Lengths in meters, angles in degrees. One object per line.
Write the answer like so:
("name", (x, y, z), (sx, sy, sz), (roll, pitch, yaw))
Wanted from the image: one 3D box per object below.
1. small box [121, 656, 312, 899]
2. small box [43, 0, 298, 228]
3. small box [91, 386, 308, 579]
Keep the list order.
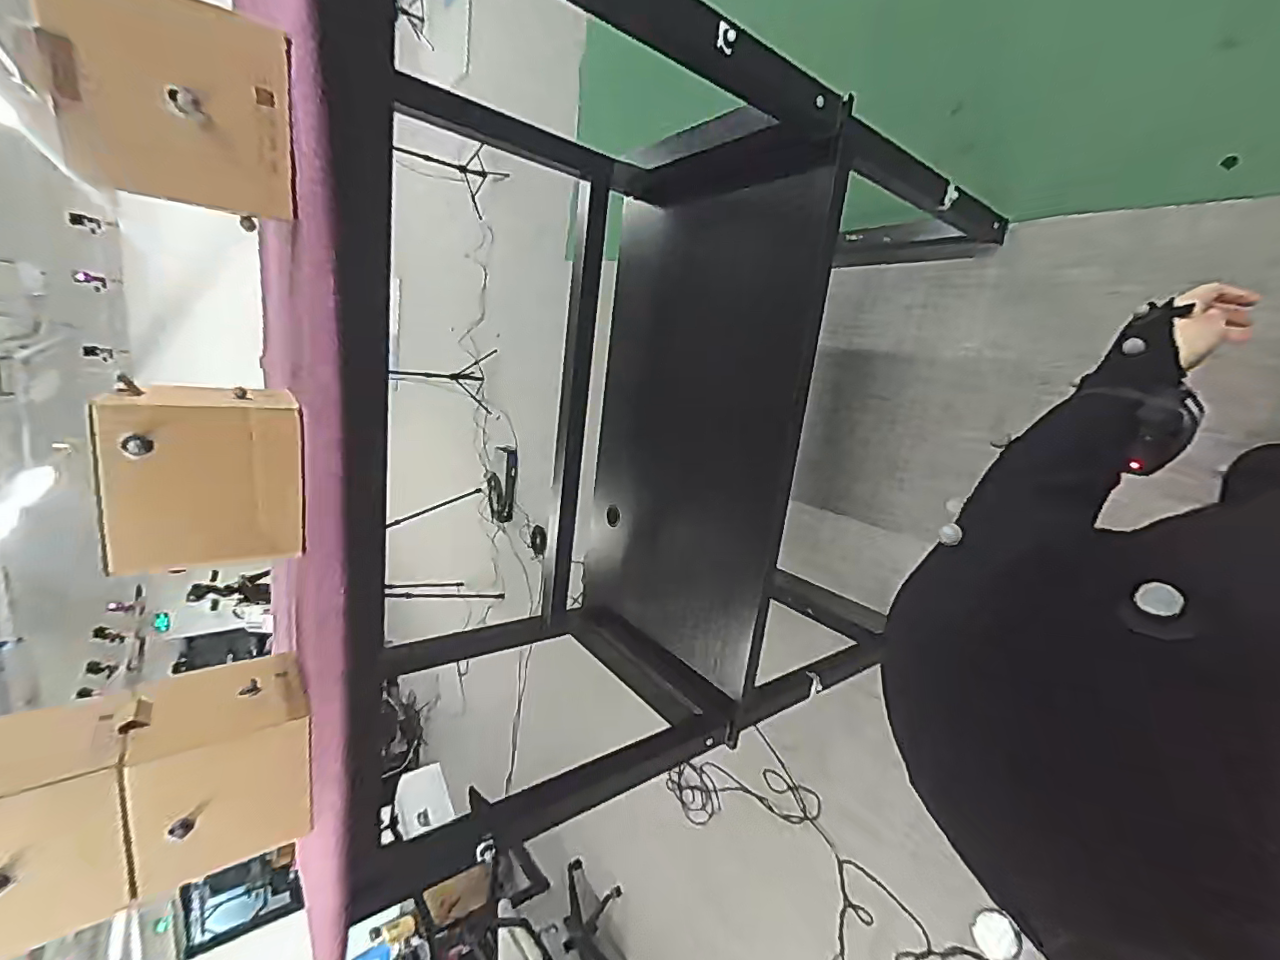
("small box", (-0.516, 0.350, 0.675), (0.168, 0.176, 0.179), (20, 107, 49))
("small box", (-0.446, -0.359, 0.541), (0.179, 0.176, 0.168), (33, 119, 49))
("small box", (-0.483, -0.007, 0.618), (0.168, 0.176, 0.179), (22, 109, 51))
